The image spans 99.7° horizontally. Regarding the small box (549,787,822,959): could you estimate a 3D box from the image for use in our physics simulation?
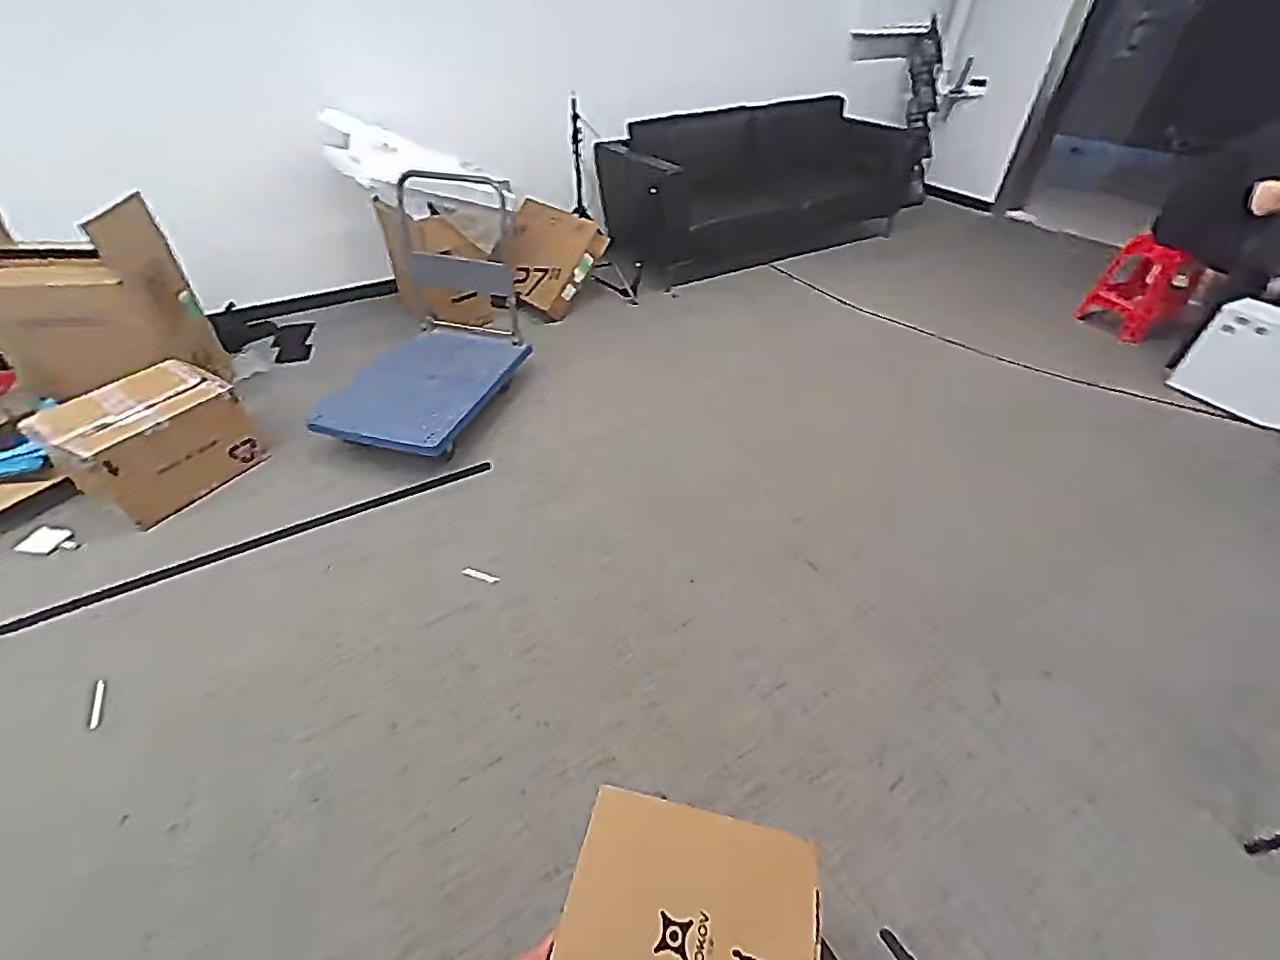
[{"bbox_3d":[0.034,0.372,0.413,0.179,0.176,0.168,8,42,12],"label":"small box"}]
